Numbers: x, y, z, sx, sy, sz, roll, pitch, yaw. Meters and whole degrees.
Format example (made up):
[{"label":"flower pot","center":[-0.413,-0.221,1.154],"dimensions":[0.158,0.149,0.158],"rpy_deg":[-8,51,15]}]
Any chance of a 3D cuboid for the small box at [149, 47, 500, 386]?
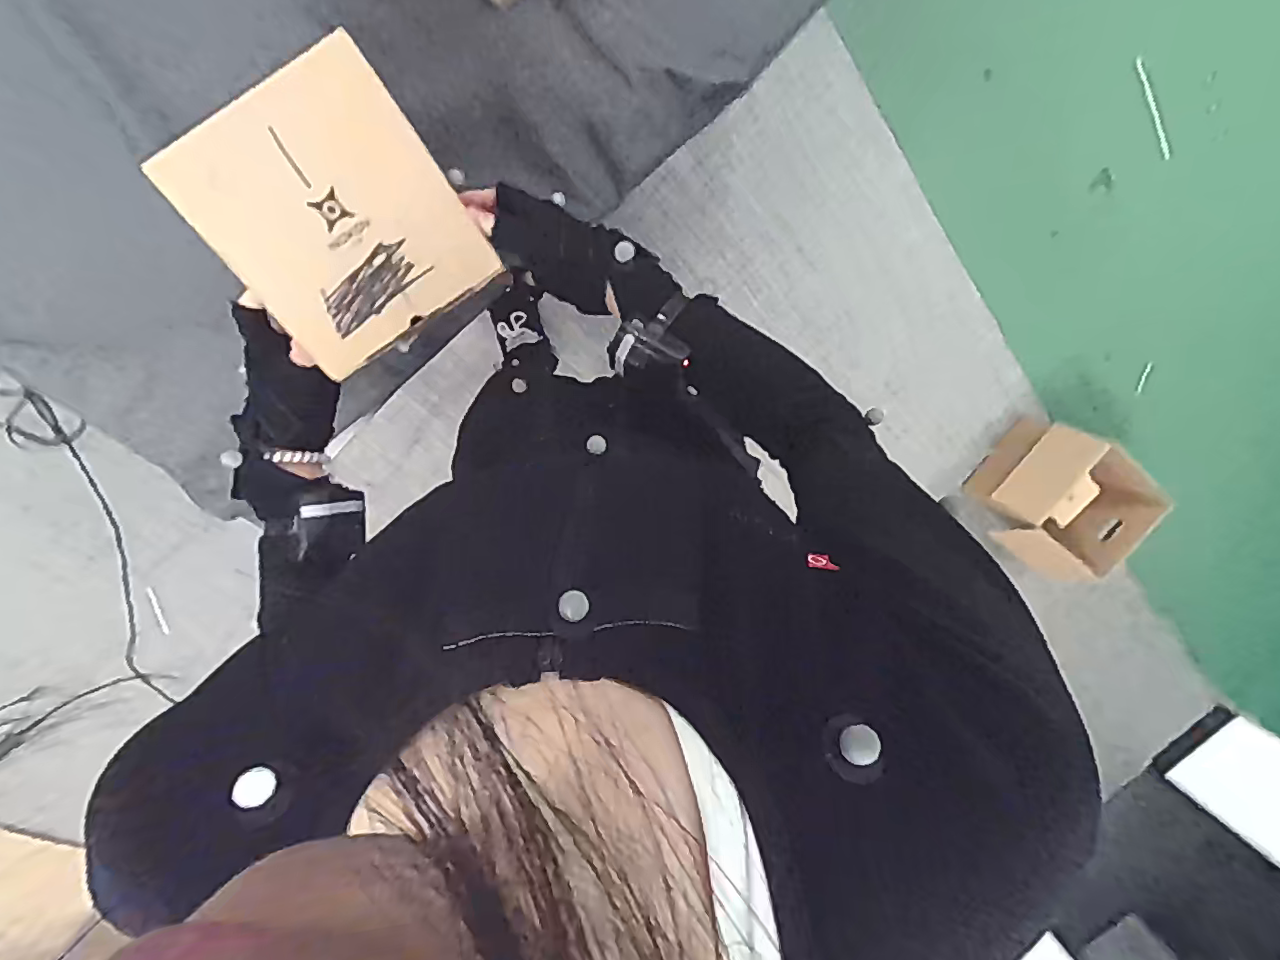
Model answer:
[{"label":"small box","center":[-0.236,-0.211,0.466],"dimensions":[0.168,0.176,0.179],"rpy_deg":[-33,115,0]}]
